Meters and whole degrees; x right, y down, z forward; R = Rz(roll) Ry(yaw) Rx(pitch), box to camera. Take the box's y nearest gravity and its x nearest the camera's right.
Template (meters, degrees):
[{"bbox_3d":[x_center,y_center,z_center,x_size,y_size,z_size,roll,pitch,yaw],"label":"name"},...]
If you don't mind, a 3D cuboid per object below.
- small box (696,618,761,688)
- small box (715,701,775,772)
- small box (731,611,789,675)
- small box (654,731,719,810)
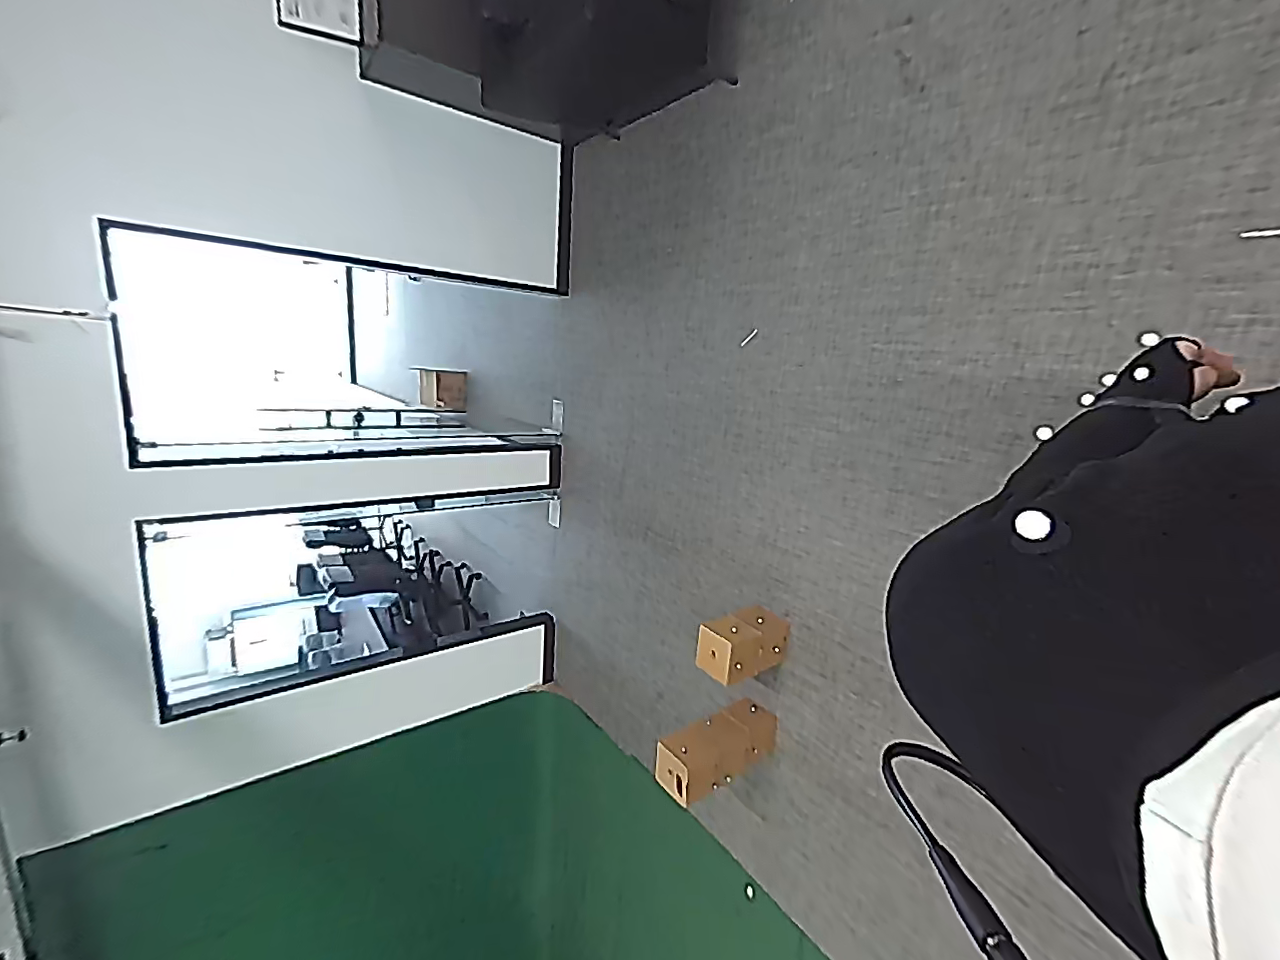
[{"bbox_3d":[0.333,0.638,2.021,0.168,0.176,0.179,20,110,51],"label":"small box"},{"bbox_3d":[0.428,1.040,2.202,0.168,0.176,0.179,19,108,51],"label":"small box"},{"bbox_3d":[0.459,0.631,2.124,0.179,0.176,0.168,22,109,50],"label":"small box"},{"bbox_3d":[0.173,1.062,1.997,0.179,0.176,0.168,18,107,52],"label":"small box"}]
